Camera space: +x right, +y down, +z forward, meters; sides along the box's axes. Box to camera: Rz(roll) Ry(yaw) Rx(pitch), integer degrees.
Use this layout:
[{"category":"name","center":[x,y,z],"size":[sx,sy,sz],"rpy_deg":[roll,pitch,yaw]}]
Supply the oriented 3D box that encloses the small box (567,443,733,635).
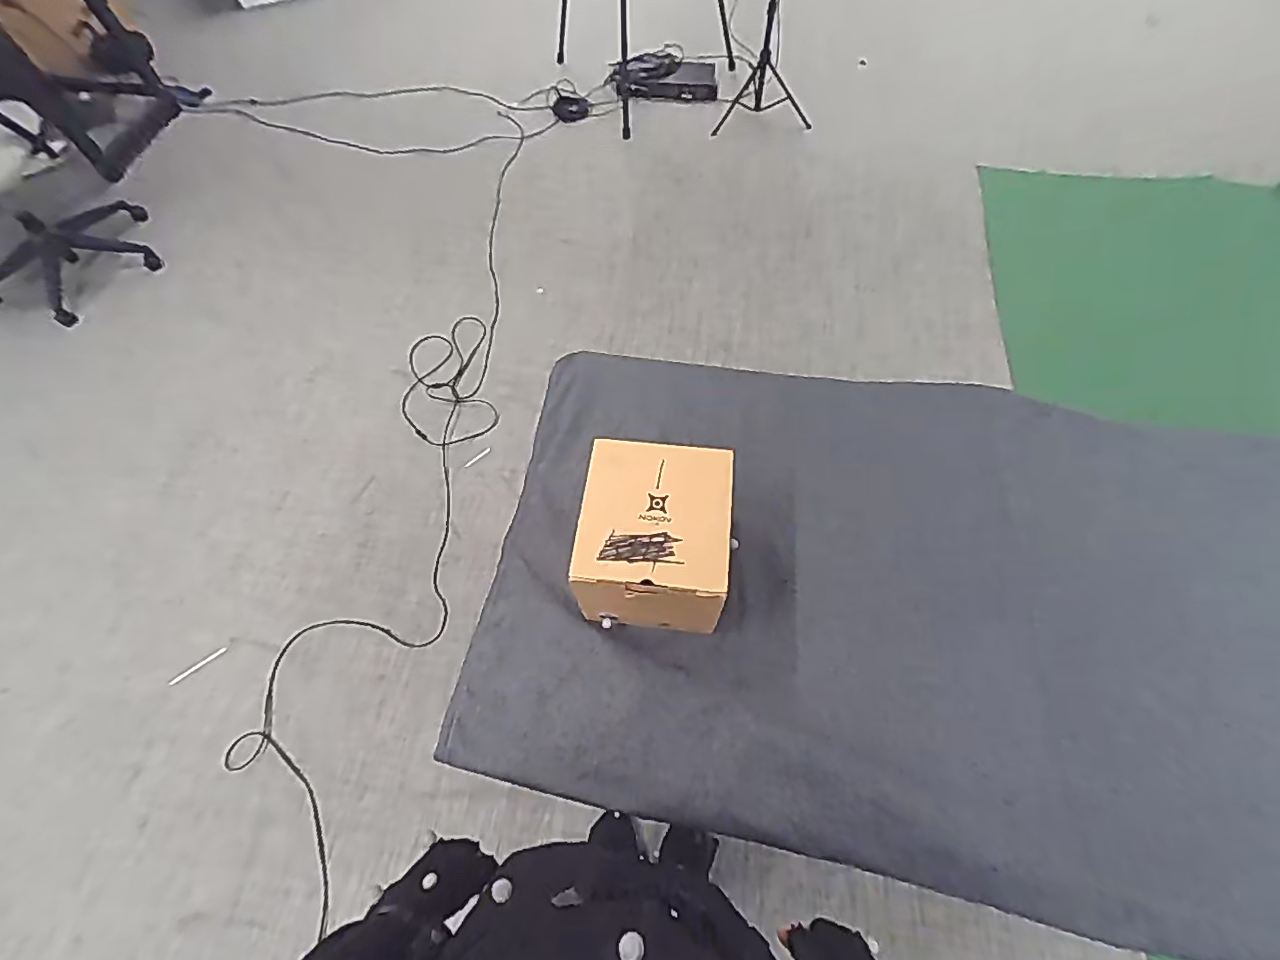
[{"category":"small box","center":[0.019,0.078,0.654],"size":[0.168,0.176,0.179],"rpy_deg":[5,60,5]}]
